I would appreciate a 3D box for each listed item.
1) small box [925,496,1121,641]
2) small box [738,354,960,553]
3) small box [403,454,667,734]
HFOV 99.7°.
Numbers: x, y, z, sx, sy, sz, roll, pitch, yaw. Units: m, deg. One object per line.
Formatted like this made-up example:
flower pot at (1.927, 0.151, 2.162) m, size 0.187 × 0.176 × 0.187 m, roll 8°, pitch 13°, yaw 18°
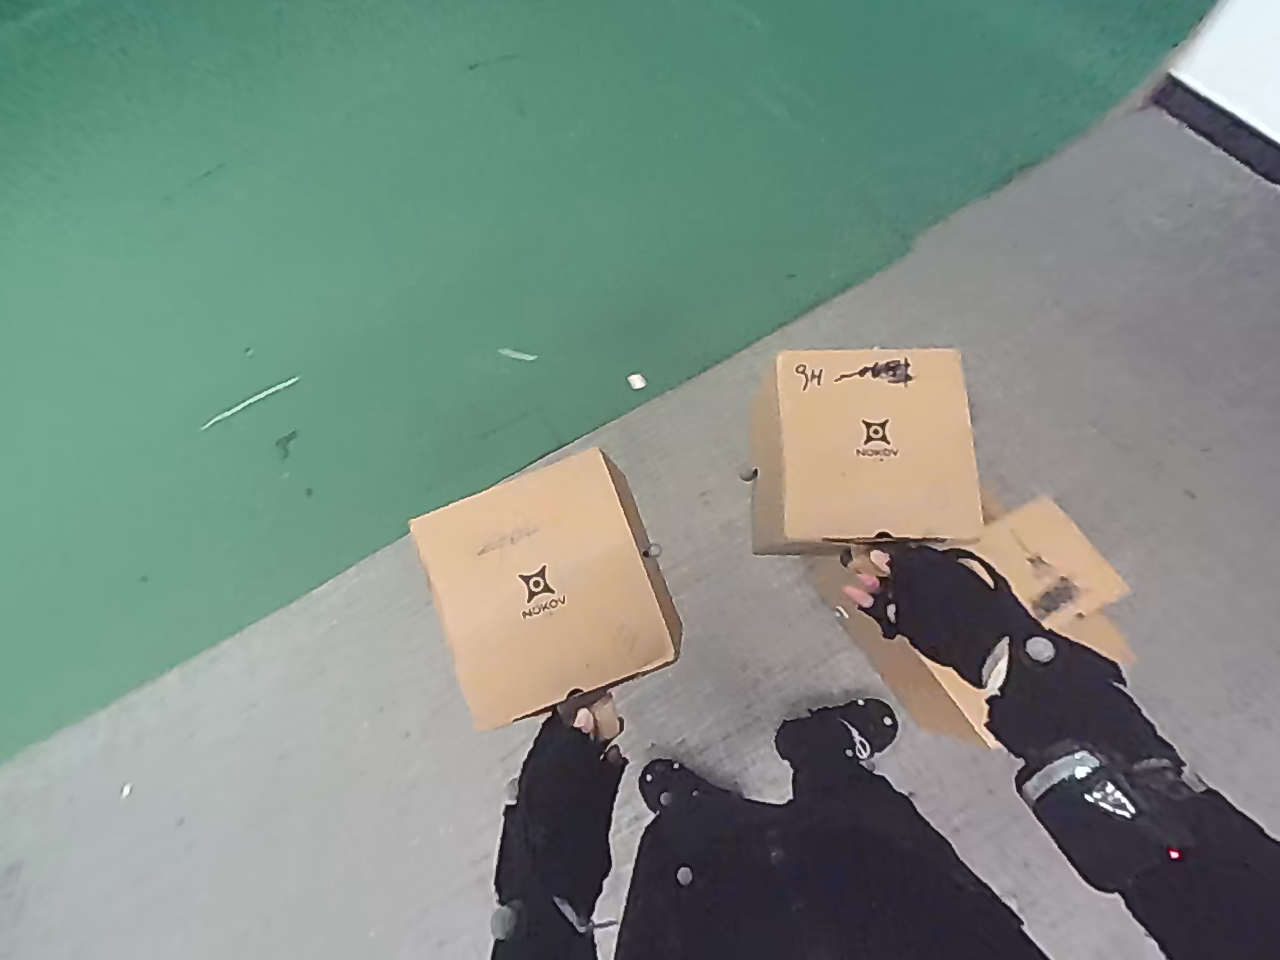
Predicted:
small box at (0.619, 0.154, 0.902) m, size 0.168 × 0.176 × 0.179 m, roll -25°, pitch 70°, yaw 1°
small box at (0.196, -0.015, 0.559) m, size 0.168 × 0.176 × 0.179 m, roll -1°, pitch 79°, yaw 2°
small box at (-0.079, 0.096, 0.500) m, size 0.168 × 0.176 × 0.179 m, roll -23°, pitch 81°, yaw 1°
